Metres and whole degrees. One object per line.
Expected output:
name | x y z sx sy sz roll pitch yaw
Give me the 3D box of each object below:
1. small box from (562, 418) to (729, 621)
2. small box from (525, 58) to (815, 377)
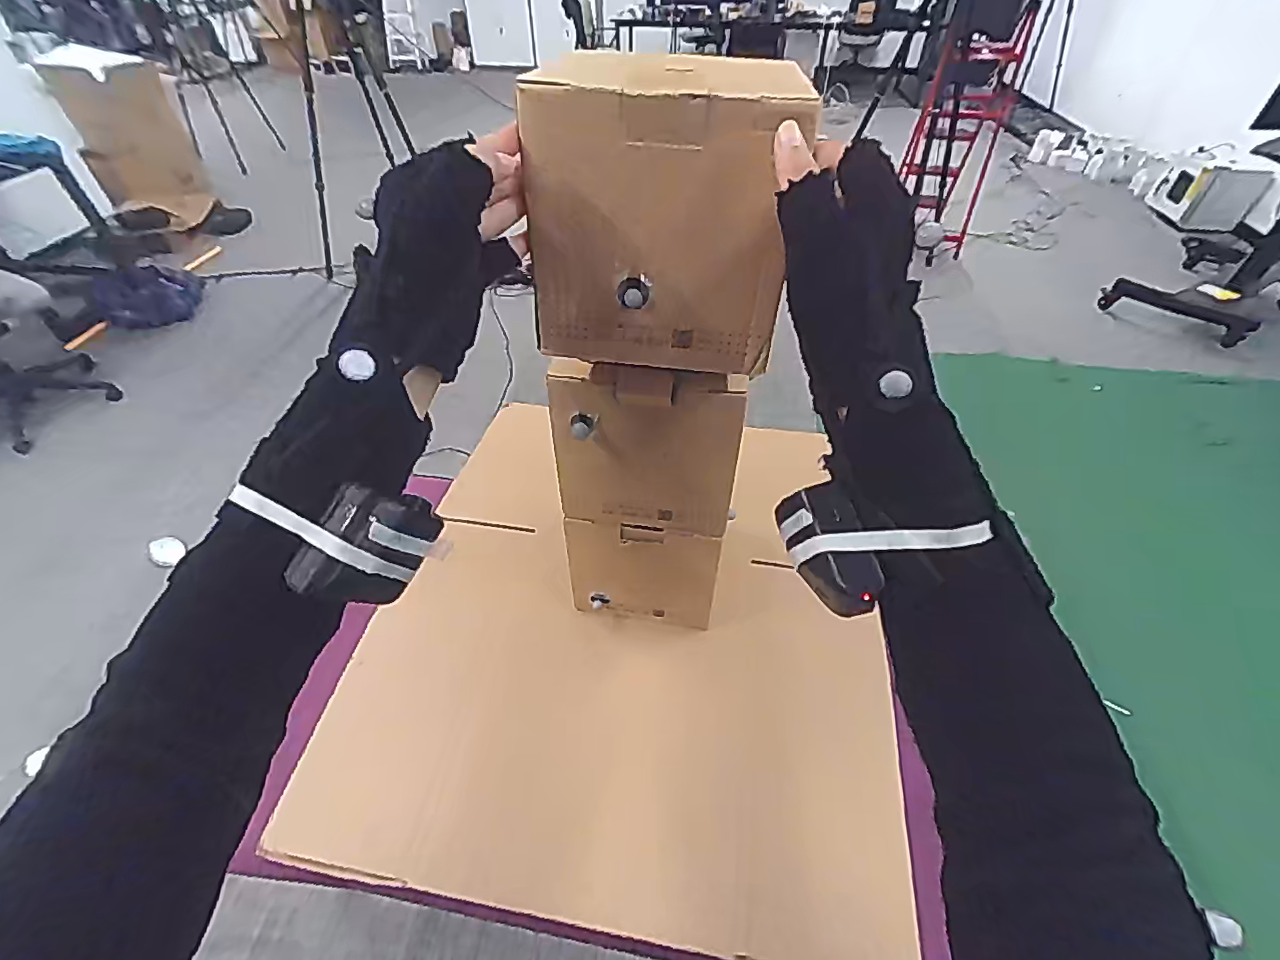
small box | 0.014 0.049 0.662 0.168 0.176 0.179 7 43 7
small box | 0.022 -0.201 0.411 0.168 0.176 0.179 6 43 4
